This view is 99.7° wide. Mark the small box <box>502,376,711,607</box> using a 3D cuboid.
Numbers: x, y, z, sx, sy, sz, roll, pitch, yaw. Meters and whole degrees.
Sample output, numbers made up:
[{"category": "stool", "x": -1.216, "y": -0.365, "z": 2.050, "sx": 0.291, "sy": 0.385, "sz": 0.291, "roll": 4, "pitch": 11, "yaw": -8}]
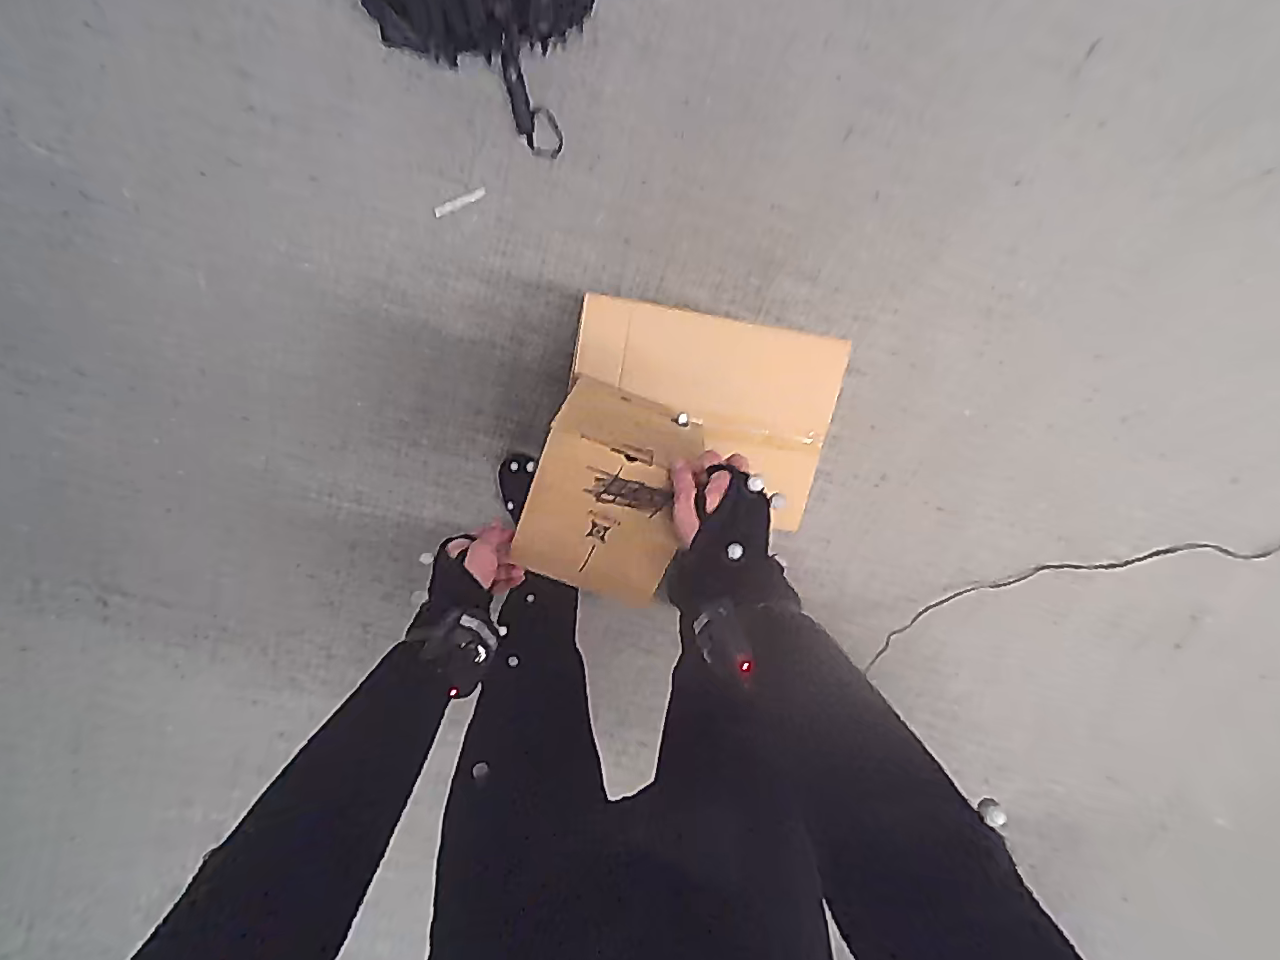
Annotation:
[{"category": "small box", "x": -0.035, "y": 0.004, "z": 0.614, "sx": 0.168, "sy": 0.176, "sz": 0.179, "roll": 22, "pitch": 116, "yaw": -7}]
